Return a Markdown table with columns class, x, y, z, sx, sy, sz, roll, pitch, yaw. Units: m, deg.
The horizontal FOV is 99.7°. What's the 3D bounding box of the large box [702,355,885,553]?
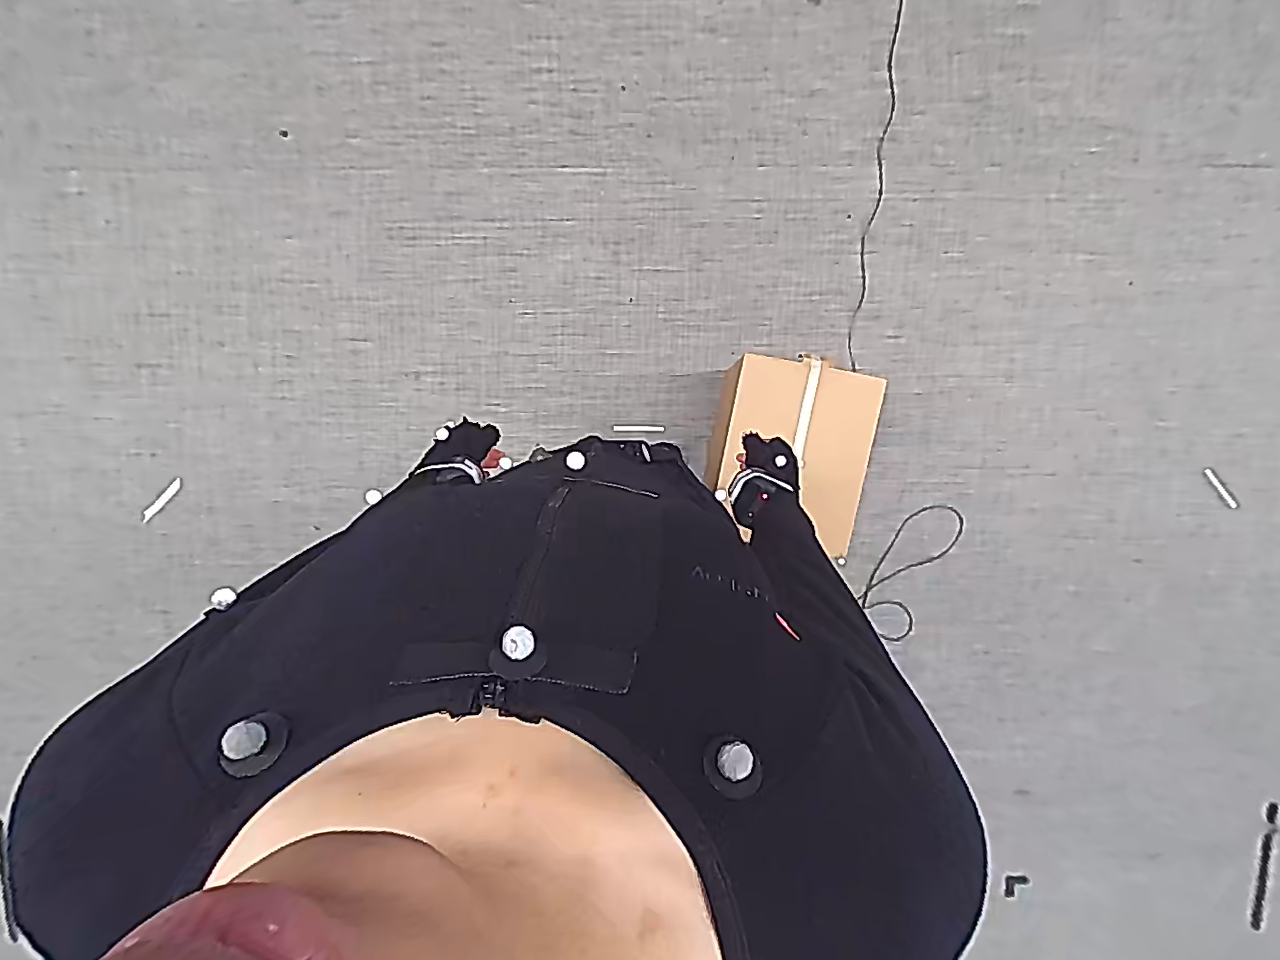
| class | x | y | z | sx | sy | sz | roll | pitch | yaw |
| --- | --- | --- | --- | --- | --- | --- | --- | --- | --- |
| large box | 0.354 | -0.072 | 1.343 | 0.320 | 0.320 | 0.408 | 11 | 96 | 1 |
